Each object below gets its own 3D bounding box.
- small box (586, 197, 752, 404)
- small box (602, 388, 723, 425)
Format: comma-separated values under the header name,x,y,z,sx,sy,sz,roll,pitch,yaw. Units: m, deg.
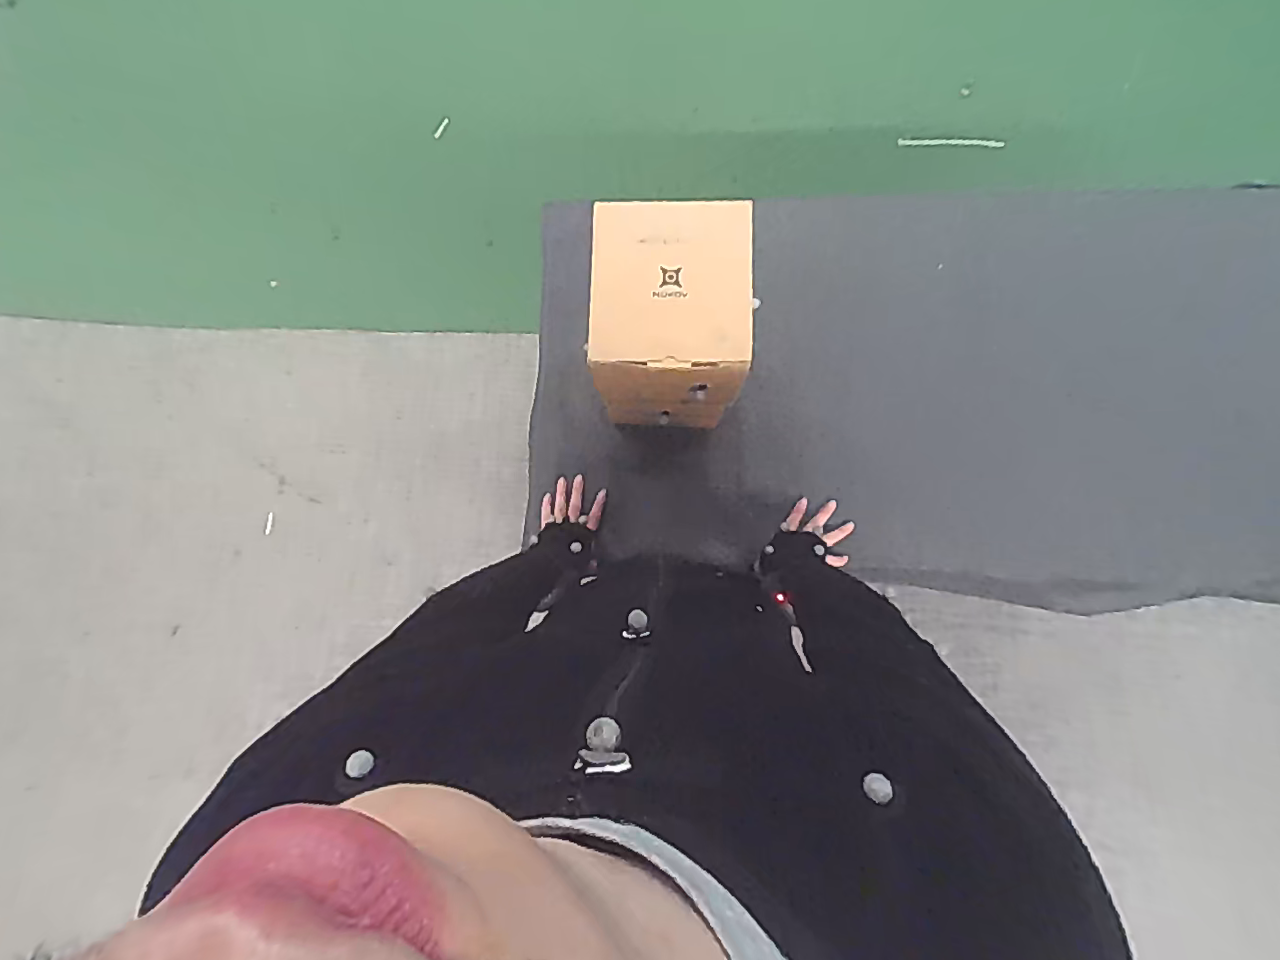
name,x,y,z,sx,sy,sz,roll,pitch,yaw
small box,0.034,-0.191,0.620,0.168,0.176,0.179,1,81,2
small box,0.042,-0.182,0.783,0.168,0.176,0.179,3,82,3
